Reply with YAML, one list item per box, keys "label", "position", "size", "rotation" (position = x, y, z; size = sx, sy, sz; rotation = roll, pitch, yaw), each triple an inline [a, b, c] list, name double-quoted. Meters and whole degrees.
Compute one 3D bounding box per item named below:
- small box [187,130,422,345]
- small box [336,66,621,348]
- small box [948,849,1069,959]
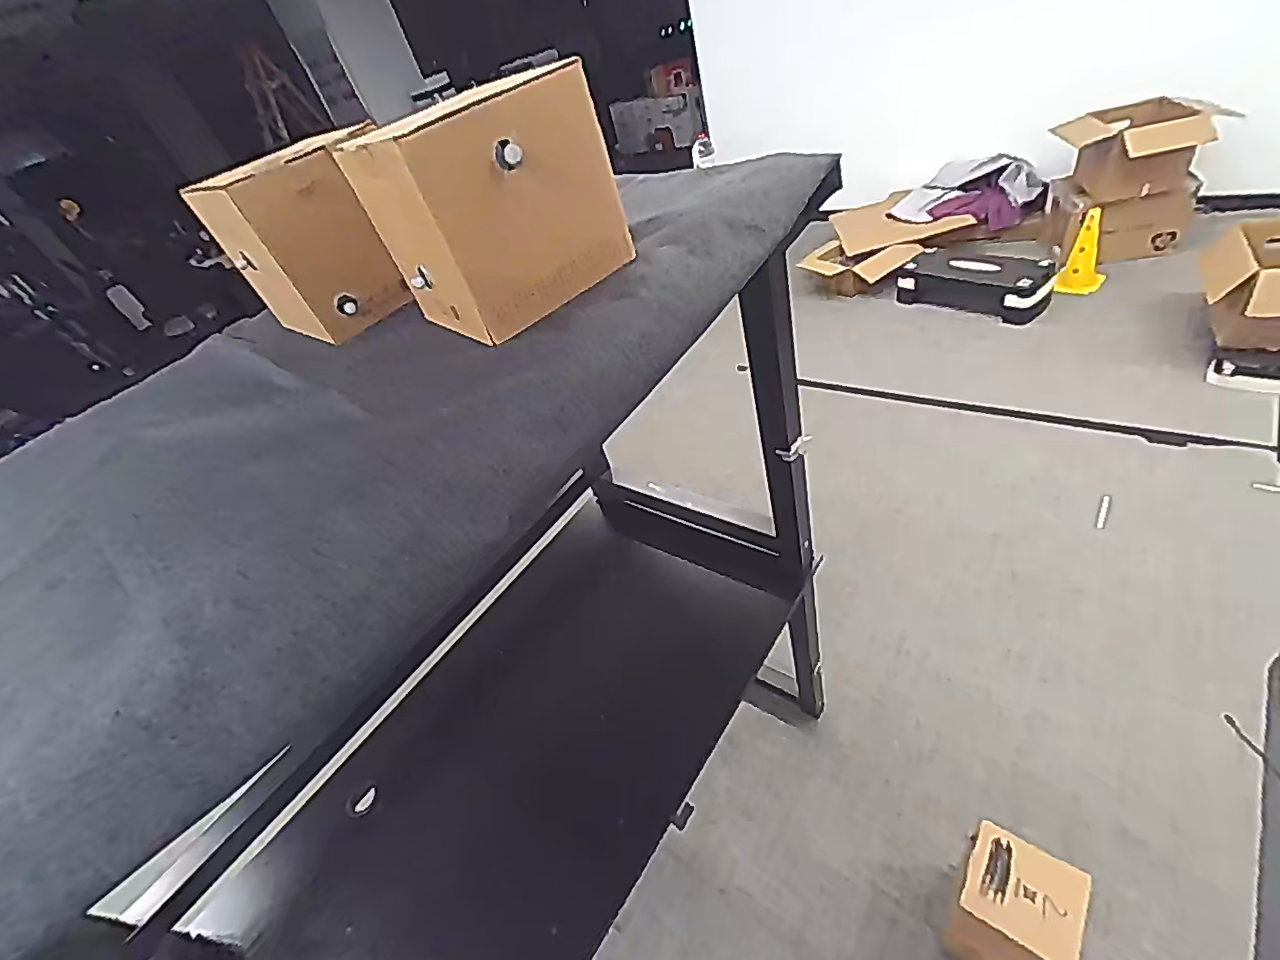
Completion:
- label: "small box"
  position: [-0.364, -0.276, 0.630]
  size: [0.179, 0.176, 0.168]
  rotation: [20, 55, 38]
- label: "small box"
  position: [-0.137, -0.252, 0.510]
  size: [0.179, 0.176, 0.168]
  rotation: [-41, 43, -21]
- label: "small box"
  position: [0.750, 0.916, 1.114]
  size: [0.168, 0.176, 0.179]
  rotation: [16, 53, 35]
